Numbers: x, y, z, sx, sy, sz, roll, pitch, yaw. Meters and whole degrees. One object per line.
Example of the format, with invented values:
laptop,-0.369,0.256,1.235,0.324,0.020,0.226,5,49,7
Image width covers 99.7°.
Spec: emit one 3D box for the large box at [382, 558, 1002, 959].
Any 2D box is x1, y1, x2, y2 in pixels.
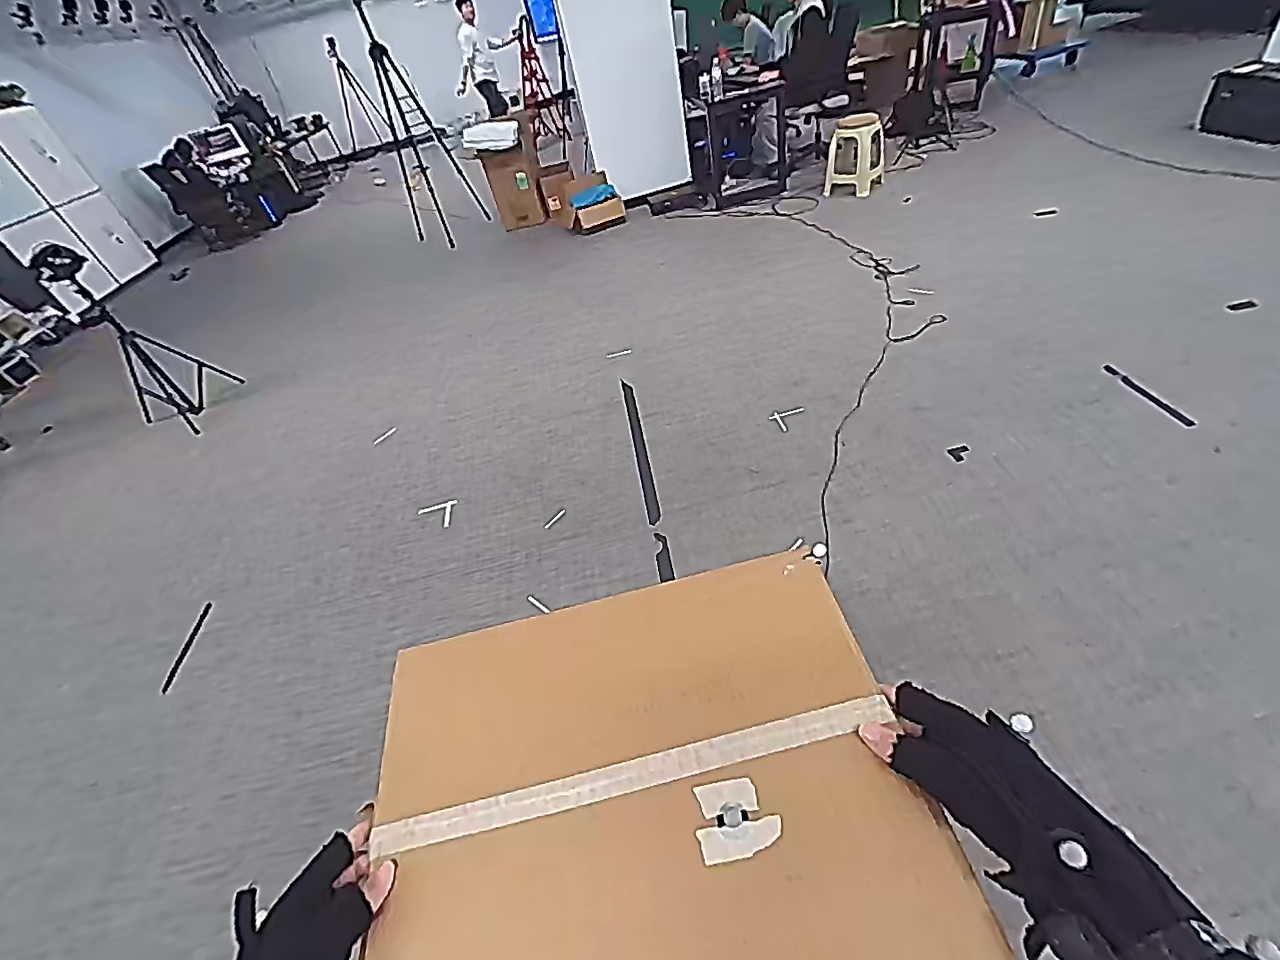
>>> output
large box,0.023,0.331,0.530,0.408,0.320,0.320,-14,48,-1
